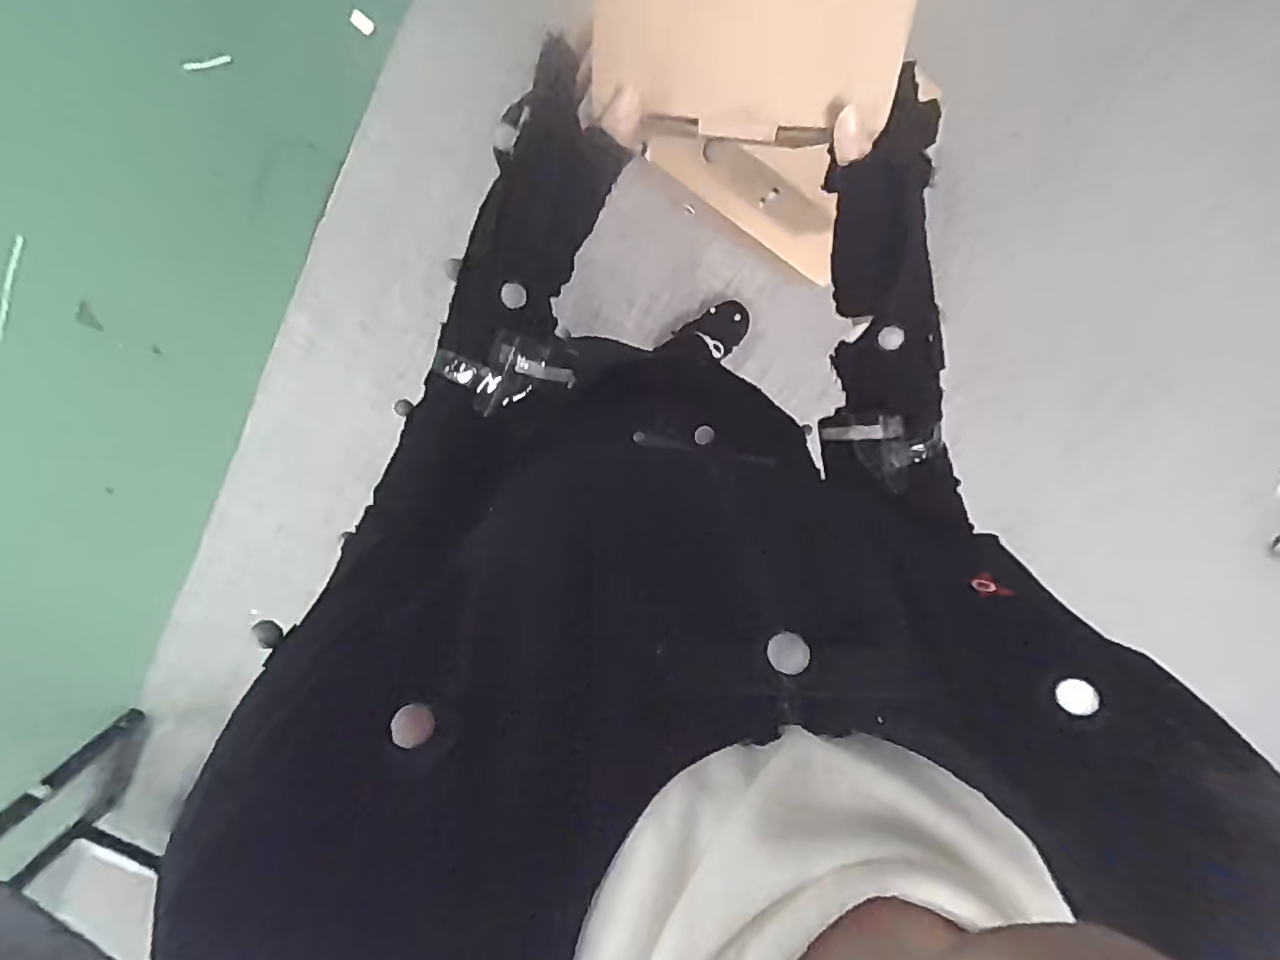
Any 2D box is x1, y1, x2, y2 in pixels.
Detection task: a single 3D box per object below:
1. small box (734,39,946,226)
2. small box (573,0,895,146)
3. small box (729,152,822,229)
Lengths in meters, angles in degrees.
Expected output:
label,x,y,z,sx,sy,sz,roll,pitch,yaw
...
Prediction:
label,x,y,z,sx,sy,sz,roll,pitch,yaw
small box,0.238,-0.448,0.694,0.179,0.176,0.168,33,111,-5
small box,0.051,-0.309,0.326,0.168,0.176,0.179,2,121,-1
small box,0.254,-0.512,0.845,0.179,0.176,0.168,32,112,-7
